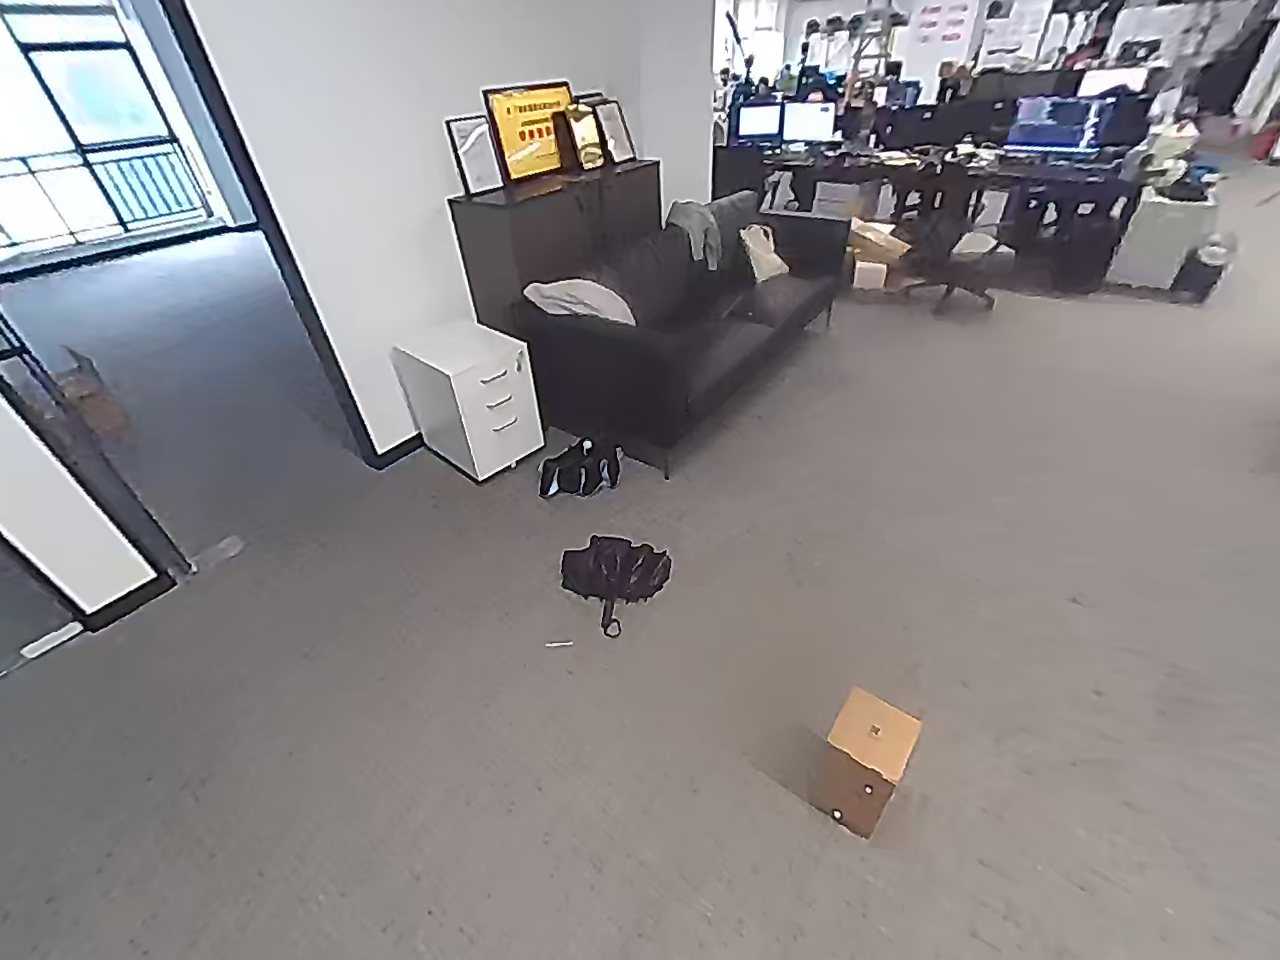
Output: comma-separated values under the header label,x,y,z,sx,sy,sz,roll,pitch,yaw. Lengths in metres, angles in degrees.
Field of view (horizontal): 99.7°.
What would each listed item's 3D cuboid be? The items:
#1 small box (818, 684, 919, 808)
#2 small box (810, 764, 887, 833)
label,x,y,z,sx,sy,sz,roll,pitch,yaw
small box,0.543,0.641,1.301,0.168,0.176,0.179,24,45,29
small box,0.556,0.765,1.405,0.168,0.176,0.179,22,47,29
